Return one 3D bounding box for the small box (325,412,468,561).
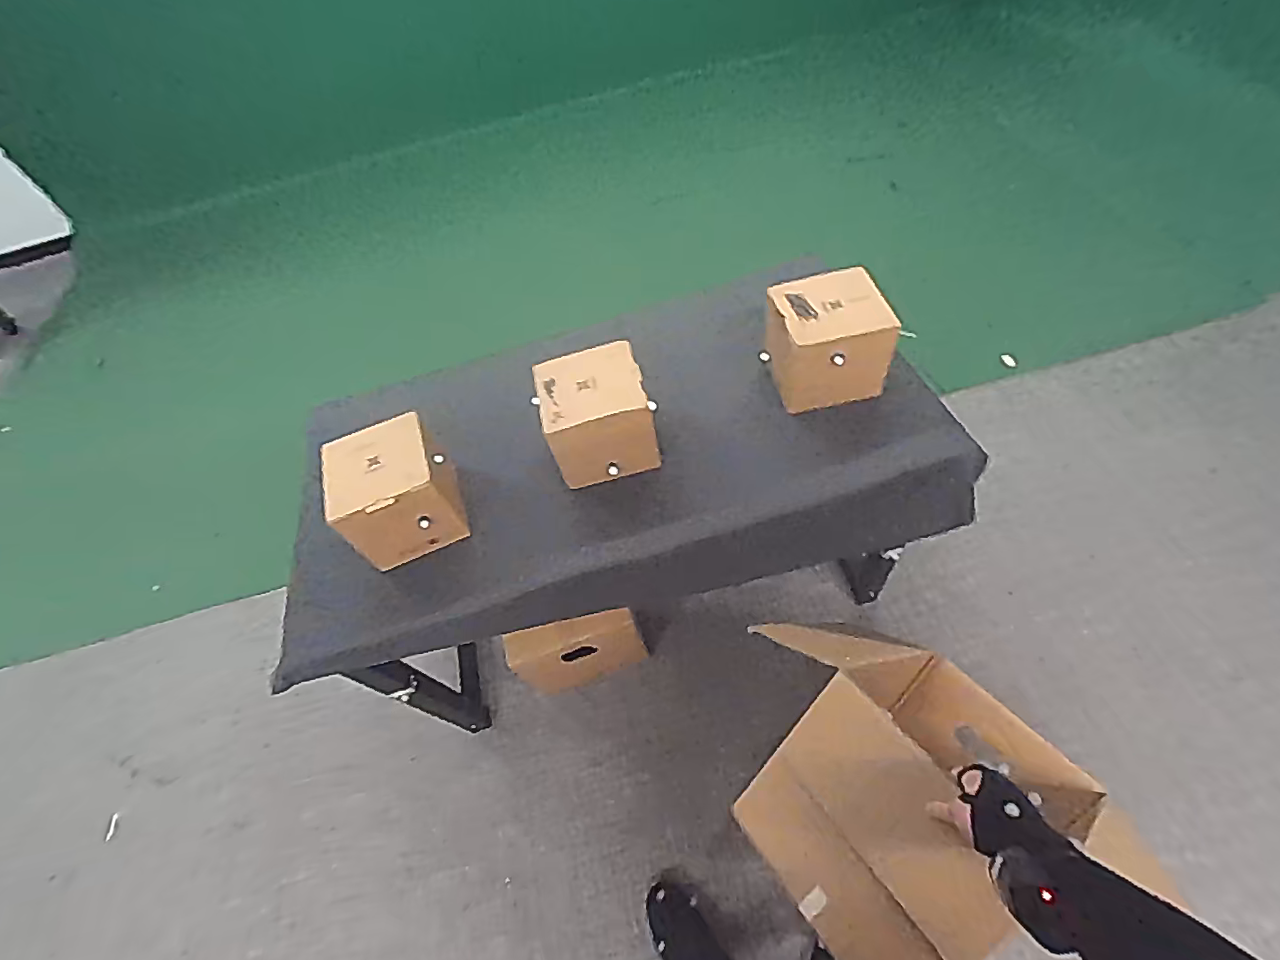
[{"bbox_3d":[-0.417,0.019,0.942,0.168,0.176,0.179,-23,53,-8],"label":"small box"}]

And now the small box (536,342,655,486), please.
[{"bbox_3d":[-0.074,-0.114,0.970,0.179,0.176,0.168,-15,55,-1],"label":"small box"}]

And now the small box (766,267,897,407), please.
[{"bbox_3d":[0.335,-0.253,0.987,0.179,0.176,0.168,-11,55,2],"label":"small box"}]
